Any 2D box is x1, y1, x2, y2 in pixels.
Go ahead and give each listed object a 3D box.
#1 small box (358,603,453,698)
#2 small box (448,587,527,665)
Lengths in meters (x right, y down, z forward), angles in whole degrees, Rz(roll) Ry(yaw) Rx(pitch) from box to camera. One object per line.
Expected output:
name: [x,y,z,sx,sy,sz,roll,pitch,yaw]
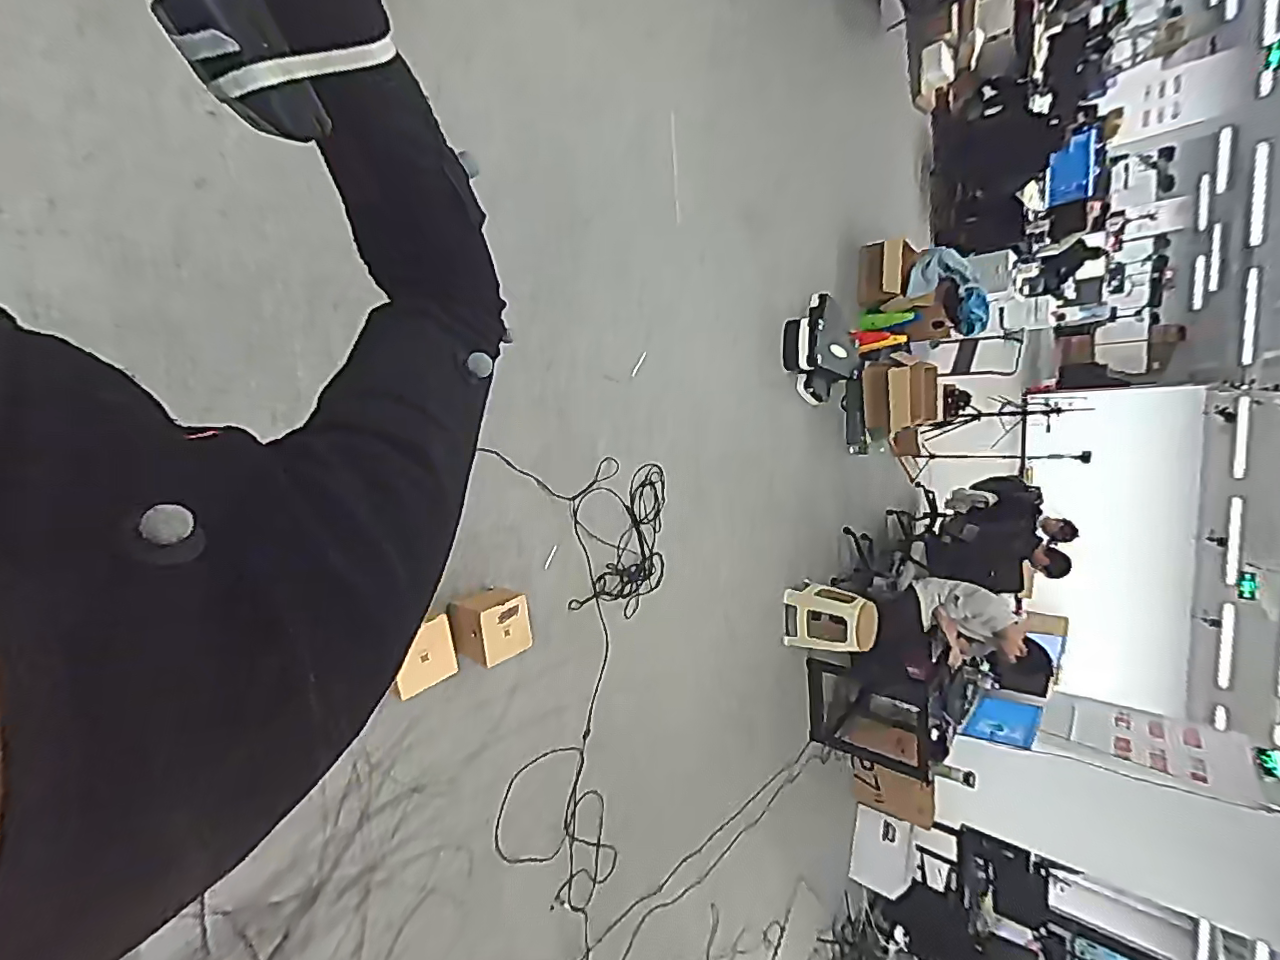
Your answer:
small box: [-0.643,0.457,1.480,0.168,0.176,0.179,-20,106,-47]
small box: [-0.474,0.439,1.671,0.168,0.176,0.179,-16,105,-48]
